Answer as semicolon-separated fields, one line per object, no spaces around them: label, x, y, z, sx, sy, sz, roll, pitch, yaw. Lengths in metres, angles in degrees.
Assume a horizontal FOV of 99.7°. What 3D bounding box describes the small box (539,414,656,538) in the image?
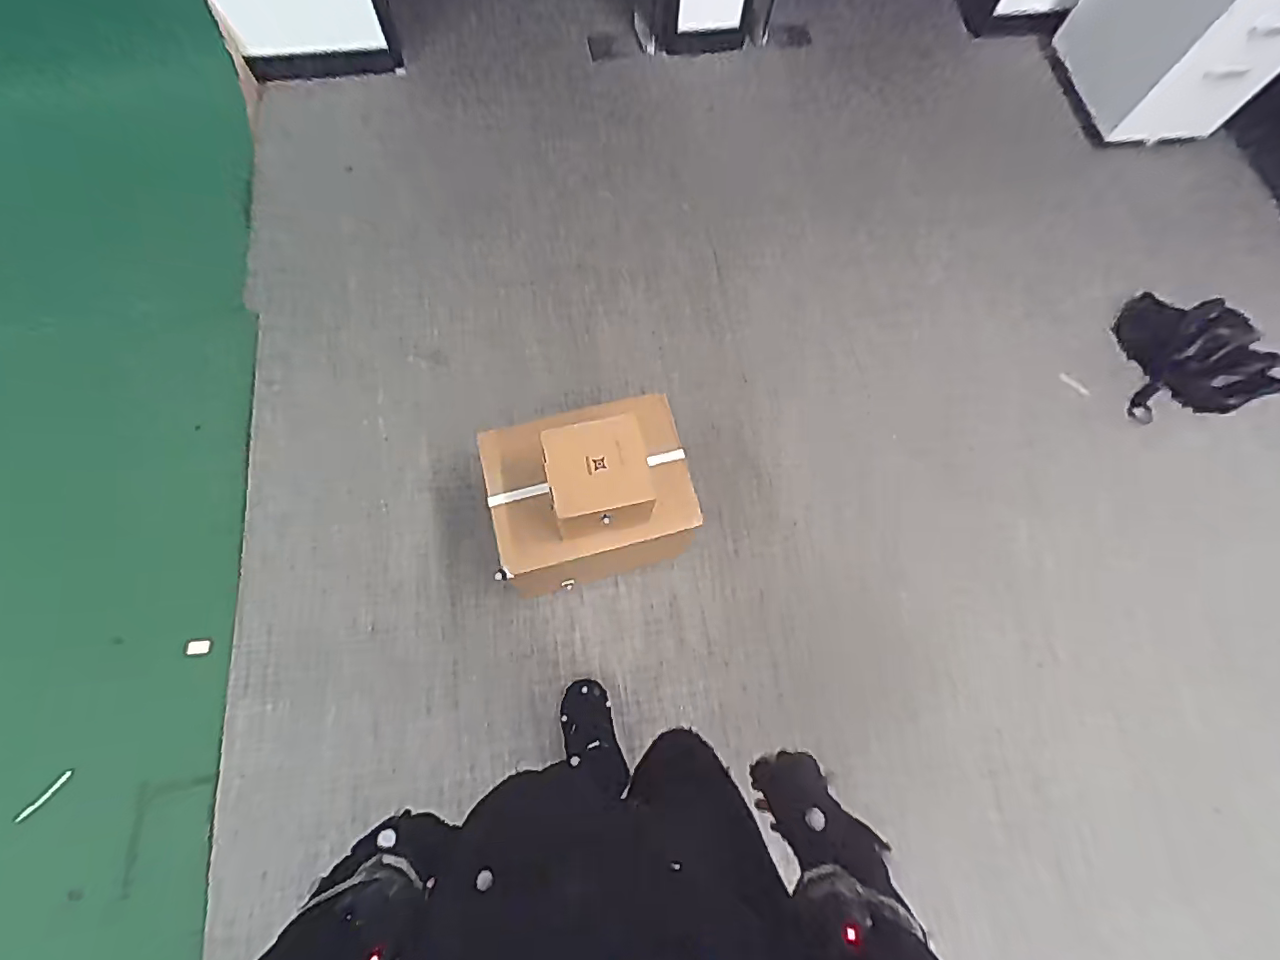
small box;-0.079;0.000;0.999;0.179;0.176;0.168;-12;74;-8
